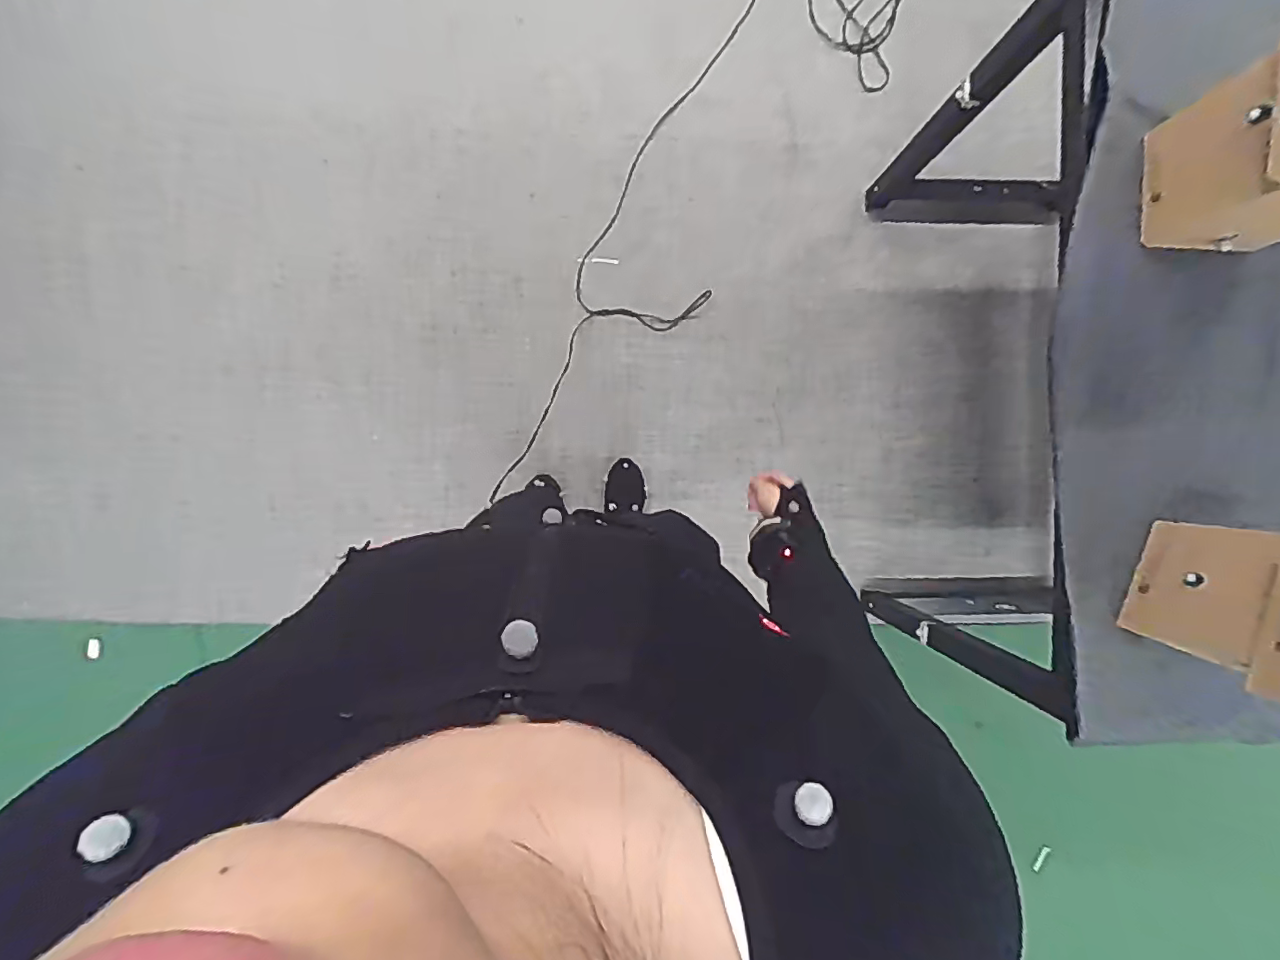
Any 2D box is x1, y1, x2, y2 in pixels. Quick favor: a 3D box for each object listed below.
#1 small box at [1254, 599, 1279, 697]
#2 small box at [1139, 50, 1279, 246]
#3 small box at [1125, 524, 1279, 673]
[{"bbox_3d":[0.803,0.184,0.545,0.179,0.176,0.168,16,91,-5],"label":"small box"},{"bbox_3d":[0.814,-0.420,0.703,0.179,0.176,0.168,0,91,-3],"label":"small box"},{"bbox_3d":[0.804,0.163,0.707,0.179,0.176,0.168,21,90,-5],"label":"small box"}]
